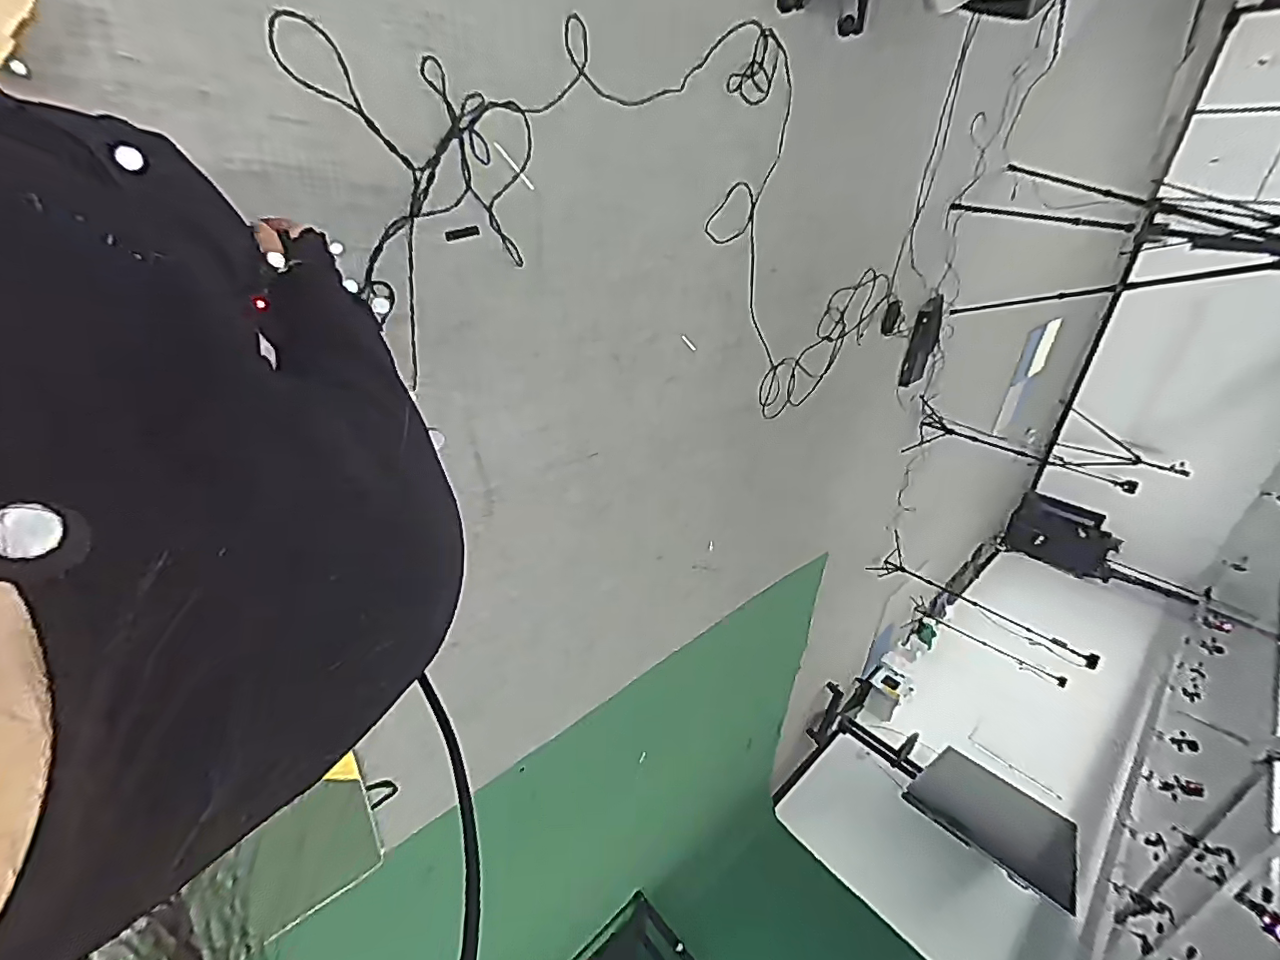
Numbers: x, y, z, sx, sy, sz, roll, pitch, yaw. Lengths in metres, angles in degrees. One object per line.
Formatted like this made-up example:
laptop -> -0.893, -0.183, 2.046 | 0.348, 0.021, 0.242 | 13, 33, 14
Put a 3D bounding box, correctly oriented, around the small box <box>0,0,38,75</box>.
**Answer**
small box -> -0.924, -0.615, 0.683 | 0.168, 0.176, 0.179 | -58, 141, -3
